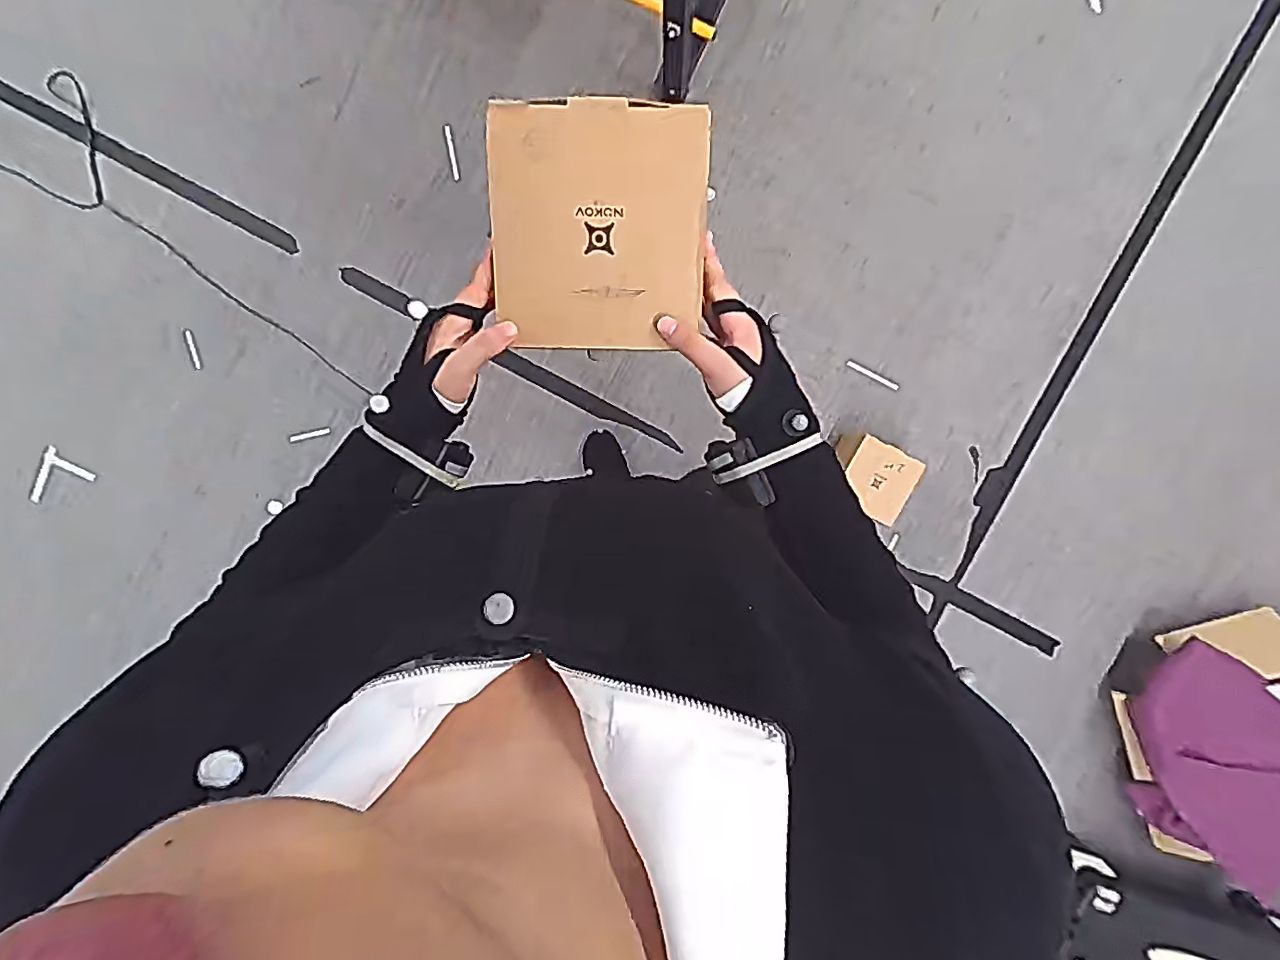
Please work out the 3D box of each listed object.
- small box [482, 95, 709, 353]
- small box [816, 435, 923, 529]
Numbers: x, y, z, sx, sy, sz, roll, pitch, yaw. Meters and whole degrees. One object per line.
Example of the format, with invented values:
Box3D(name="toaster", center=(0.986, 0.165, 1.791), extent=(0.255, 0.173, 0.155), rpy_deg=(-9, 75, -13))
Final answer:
Box3D(name="small box", center=(-0.036, -0.209, 0.483), extent=(0.168, 0.176, 0.179), rpy_deg=(1, 107, -1))
Box3D(name="small box", center=(0.572, 0.000, 1.378), extent=(0.168, 0.176, 0.179), rpy_deg=(28, 95, 0))
